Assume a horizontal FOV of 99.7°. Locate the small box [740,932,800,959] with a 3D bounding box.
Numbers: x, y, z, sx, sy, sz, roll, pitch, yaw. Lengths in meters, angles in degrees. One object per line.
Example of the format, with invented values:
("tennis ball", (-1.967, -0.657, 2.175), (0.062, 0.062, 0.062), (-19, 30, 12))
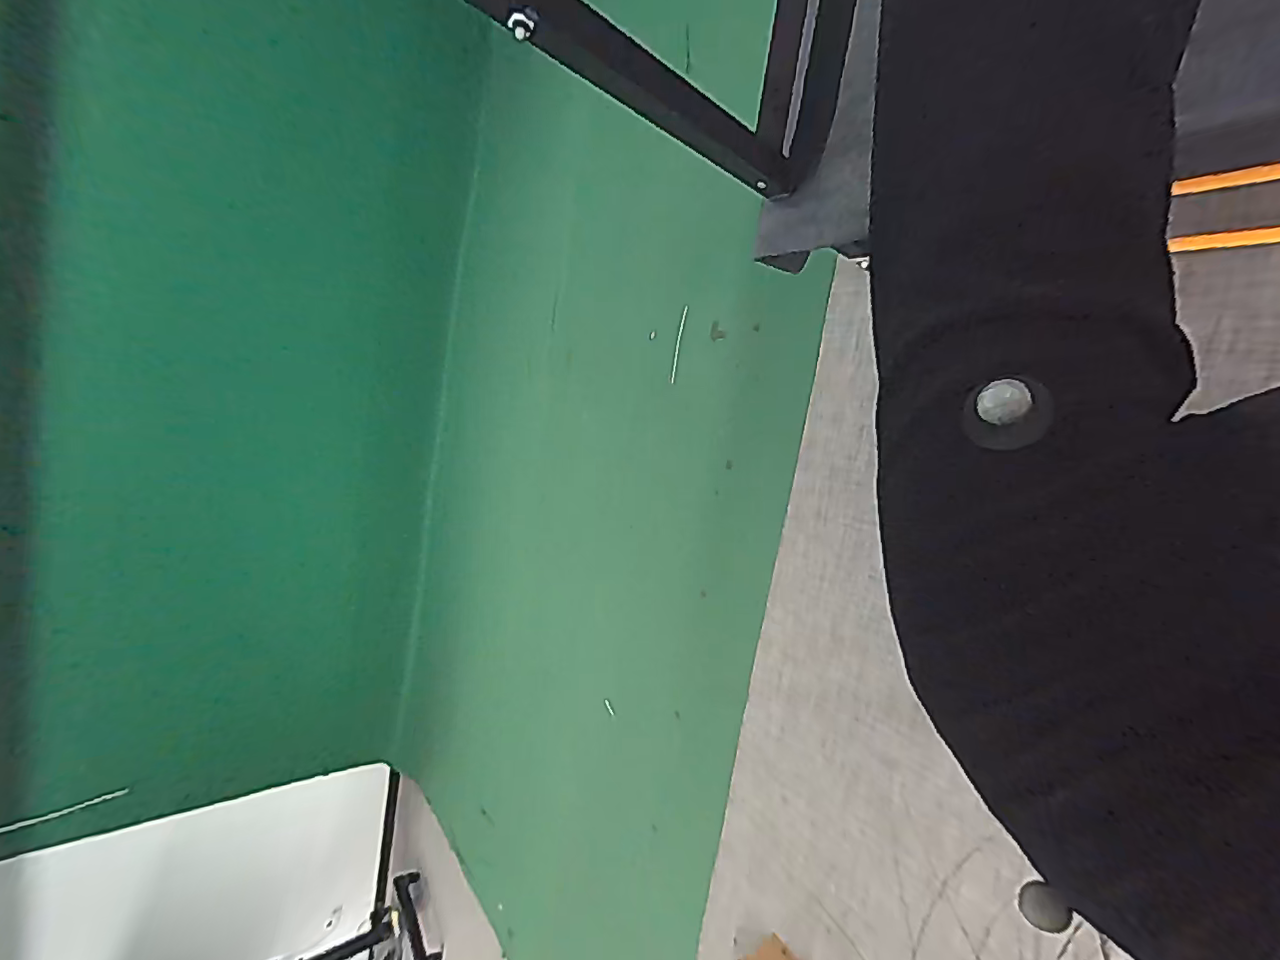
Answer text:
("small box", (0.402, 1.536, 1.635), (0.168, 0.176, 0.179), (20, 103, 48))
